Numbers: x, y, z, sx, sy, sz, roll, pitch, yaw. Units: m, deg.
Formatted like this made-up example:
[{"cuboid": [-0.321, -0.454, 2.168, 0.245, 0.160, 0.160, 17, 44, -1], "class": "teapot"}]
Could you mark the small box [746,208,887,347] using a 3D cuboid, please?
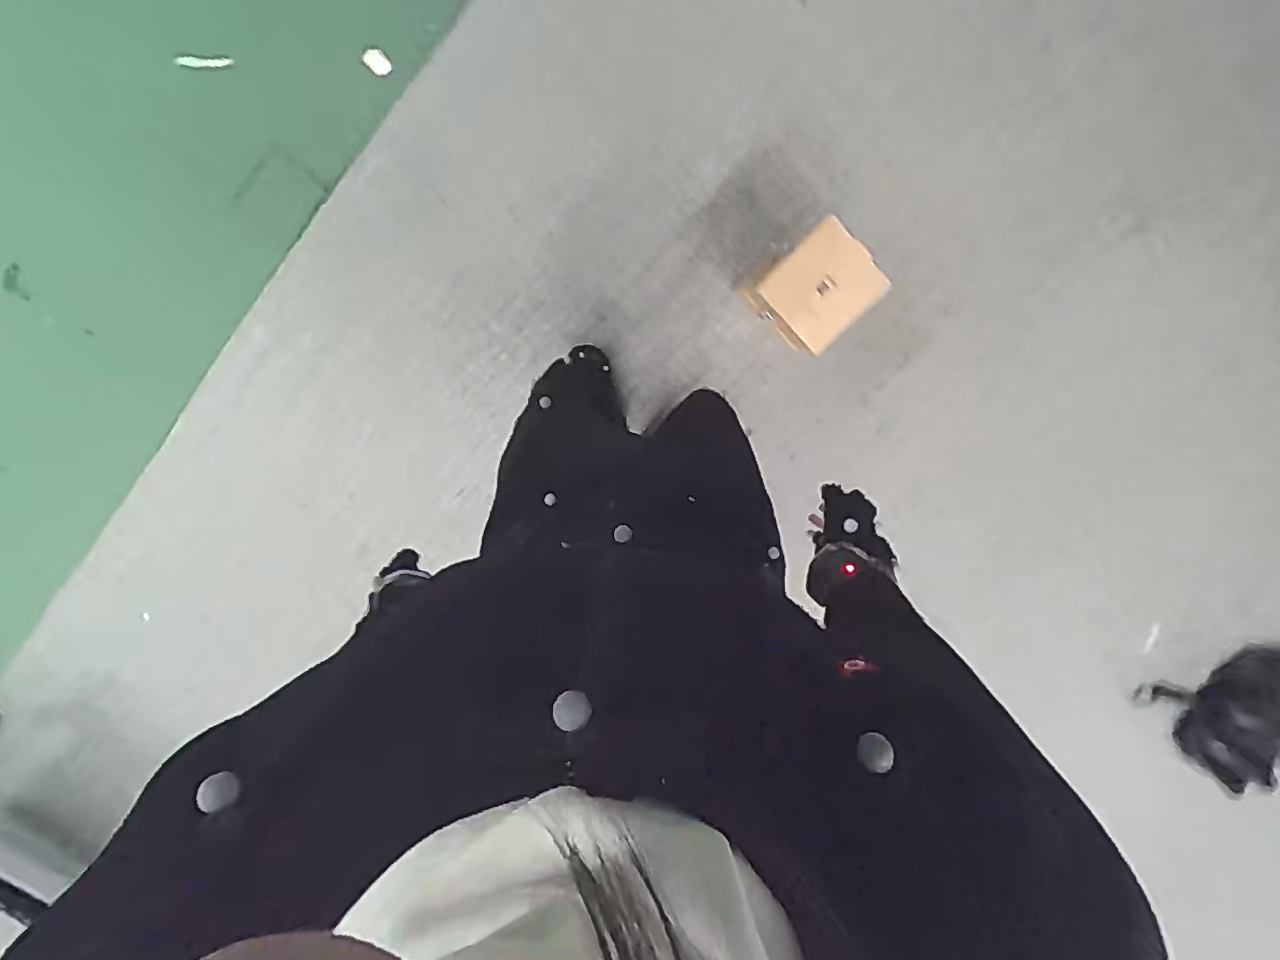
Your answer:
[{"cuboid": [0.322, -0.380, 1.030, 0.168, 0.176, 0.179, 44, 106, -10], "class": "small box"}]

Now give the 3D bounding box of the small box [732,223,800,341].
[{"cuboid": [0.323, -0.432, 1.201, 0.168, 0.176, 0.179, -43, 103, 15], "class": "small box"}]
